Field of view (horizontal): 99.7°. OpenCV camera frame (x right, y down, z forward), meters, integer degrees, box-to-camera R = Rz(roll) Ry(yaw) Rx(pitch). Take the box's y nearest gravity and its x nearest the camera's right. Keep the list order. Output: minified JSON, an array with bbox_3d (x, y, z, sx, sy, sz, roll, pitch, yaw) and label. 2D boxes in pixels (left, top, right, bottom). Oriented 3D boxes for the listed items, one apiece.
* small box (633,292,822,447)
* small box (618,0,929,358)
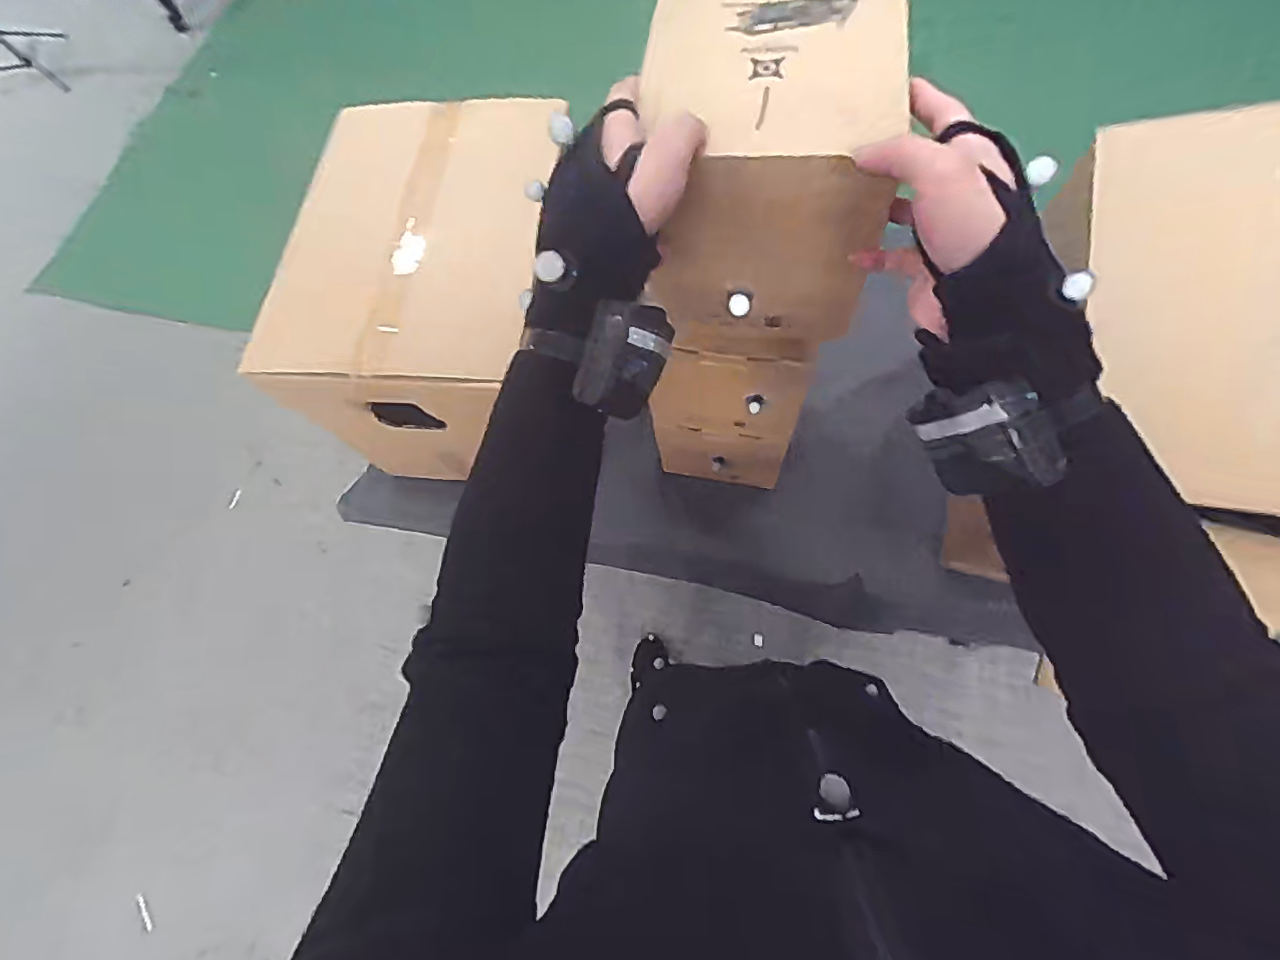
[{"bbox_3d":[0.098,-0.149,0.565,0.168,0.176,0.179,9,71,9],"label":"small box"},{"bbox_3d":[0.091,-0.213,0.389,0.168,0.176,0.179,6,70,11],"label":"small box"}]
